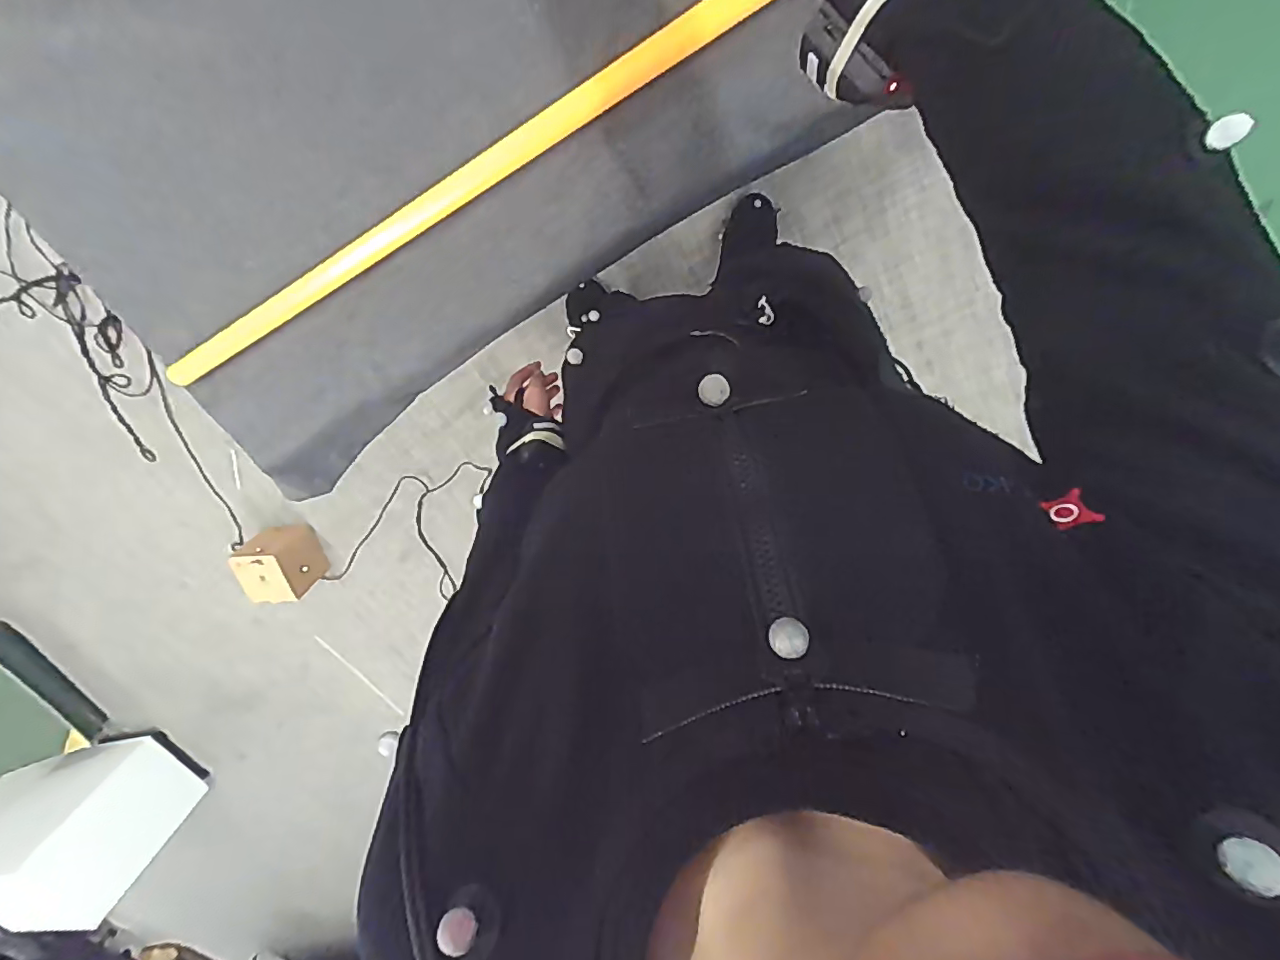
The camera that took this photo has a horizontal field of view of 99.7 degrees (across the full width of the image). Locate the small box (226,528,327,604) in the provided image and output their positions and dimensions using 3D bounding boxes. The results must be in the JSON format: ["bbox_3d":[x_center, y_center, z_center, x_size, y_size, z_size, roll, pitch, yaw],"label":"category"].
[{"bbox_3d":[-1.125,0.268,1.693,0.168,0.176,0.179,-3,118,10],"label":"small box"}]
